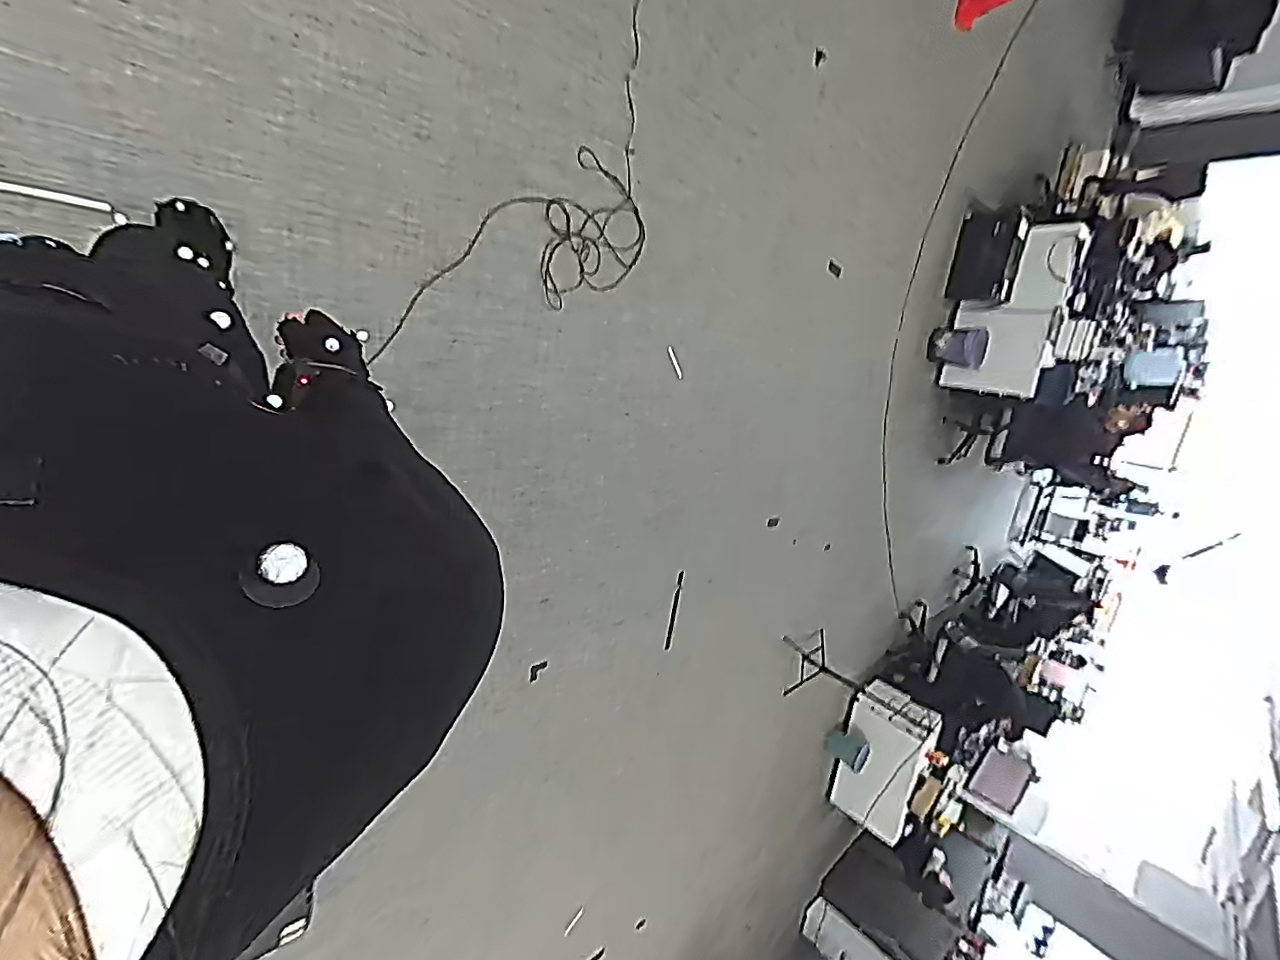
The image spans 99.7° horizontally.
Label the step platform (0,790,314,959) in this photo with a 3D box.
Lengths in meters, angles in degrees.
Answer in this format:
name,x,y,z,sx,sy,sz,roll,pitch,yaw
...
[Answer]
name,x,y,z,sx,sy,sz,roll,pitch,yaw
step platform,-1.162,1.040,1.264,0.684,0.204,0.286,-6,110,-42
